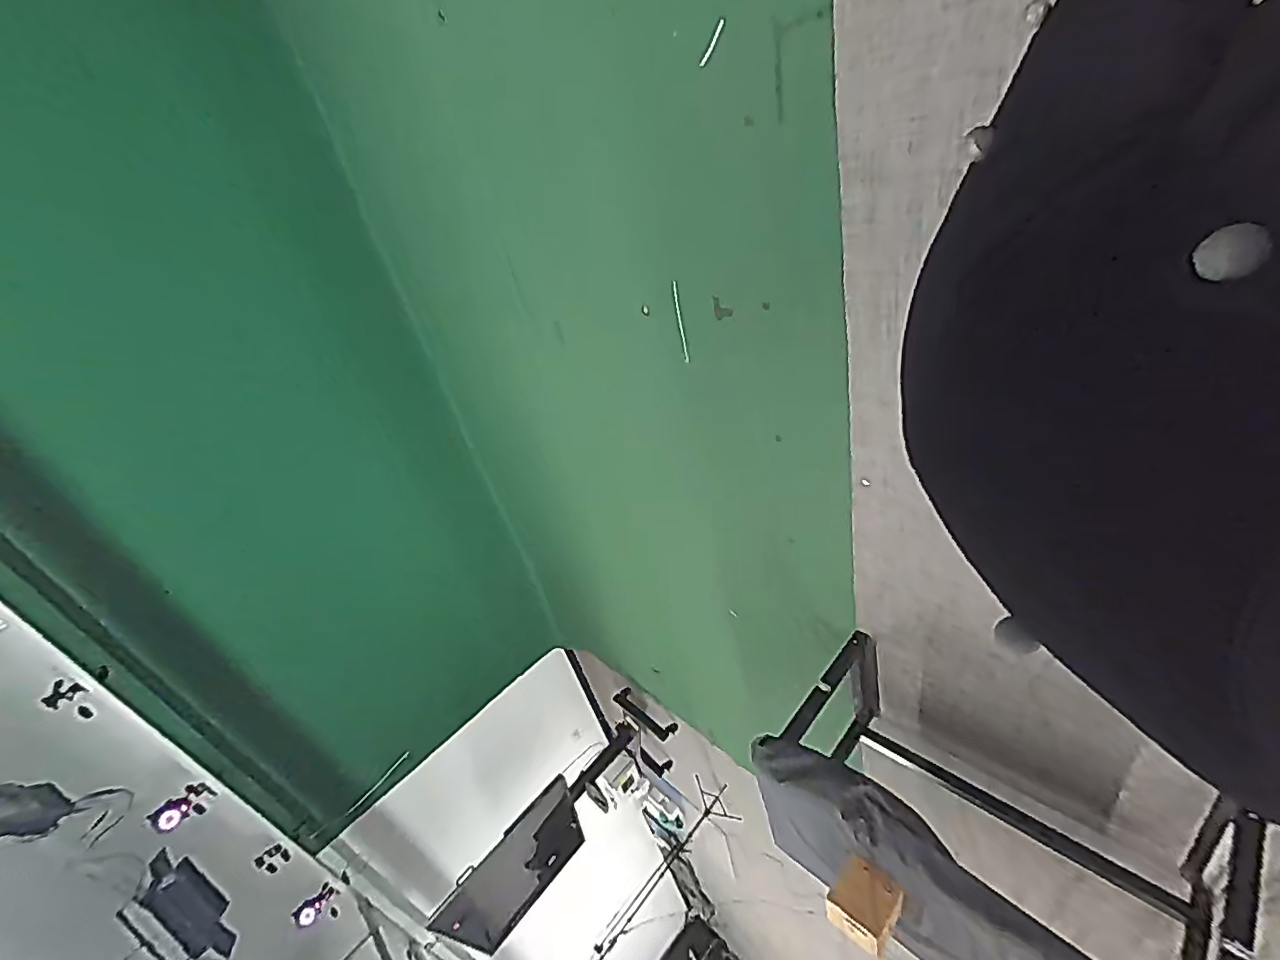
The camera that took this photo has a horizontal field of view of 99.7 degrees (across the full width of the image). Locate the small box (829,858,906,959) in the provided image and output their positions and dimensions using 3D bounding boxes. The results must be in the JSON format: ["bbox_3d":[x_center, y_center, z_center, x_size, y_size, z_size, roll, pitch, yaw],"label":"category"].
[{"bbox_3d":[0.703,1.323,1.668,0.168,0.176,0.179,19,137,43],"label":"small box"}]
